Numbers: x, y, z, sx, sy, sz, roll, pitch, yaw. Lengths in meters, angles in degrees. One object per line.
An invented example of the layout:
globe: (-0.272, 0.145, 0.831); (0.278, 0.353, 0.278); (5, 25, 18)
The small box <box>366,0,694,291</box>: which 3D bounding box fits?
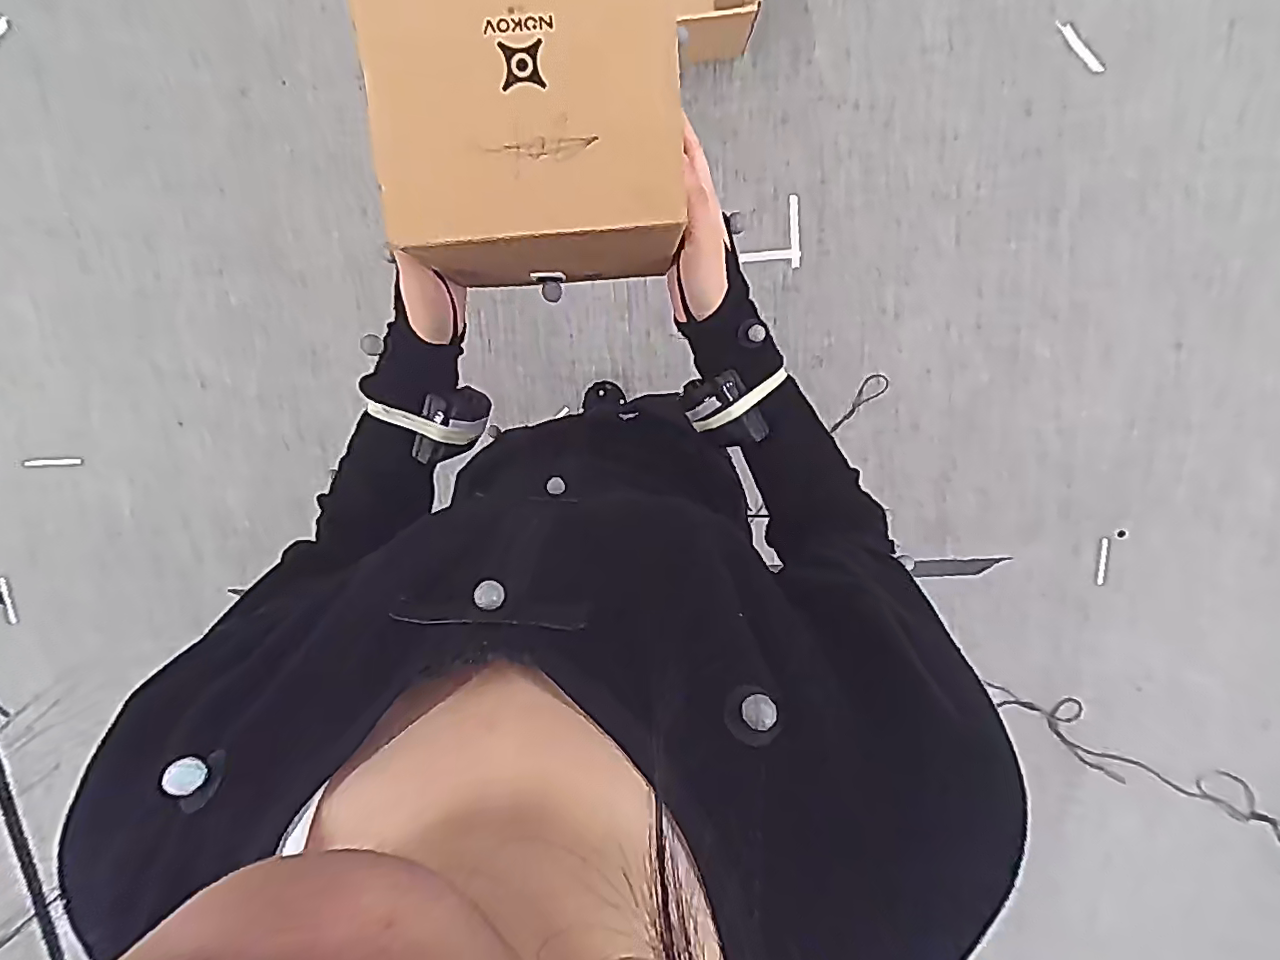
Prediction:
small box: (-0.059, -0.236, 0.363); (0.168, 0.176, 0.179); (-6, 102, 0)
